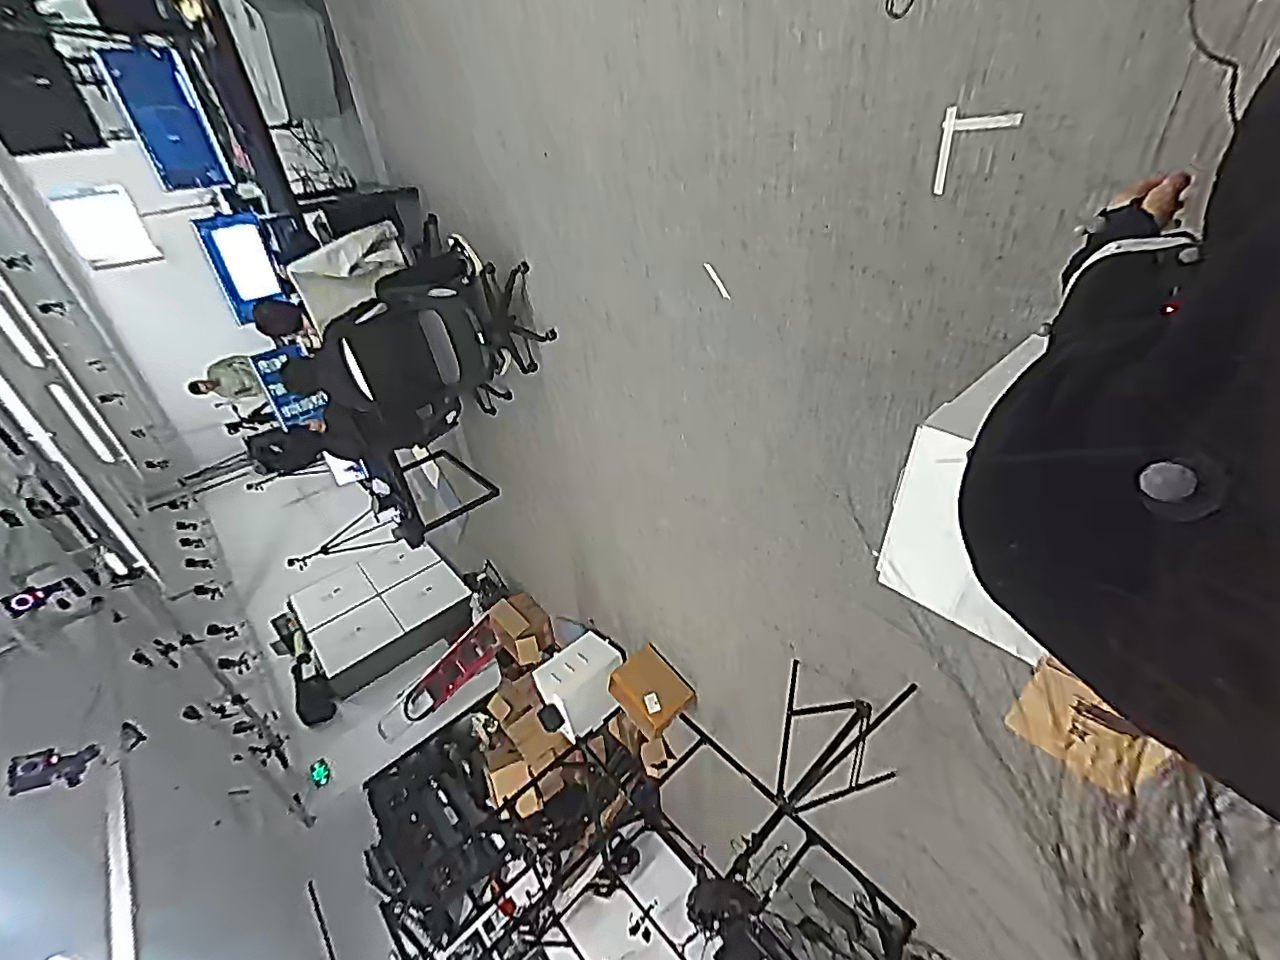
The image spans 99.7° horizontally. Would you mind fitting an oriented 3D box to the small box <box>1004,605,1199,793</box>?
[{"bbox_3d":[0.717,0.331,0.844,0.168,0.176,0.179,33,140,37],"label":"small box"}]
